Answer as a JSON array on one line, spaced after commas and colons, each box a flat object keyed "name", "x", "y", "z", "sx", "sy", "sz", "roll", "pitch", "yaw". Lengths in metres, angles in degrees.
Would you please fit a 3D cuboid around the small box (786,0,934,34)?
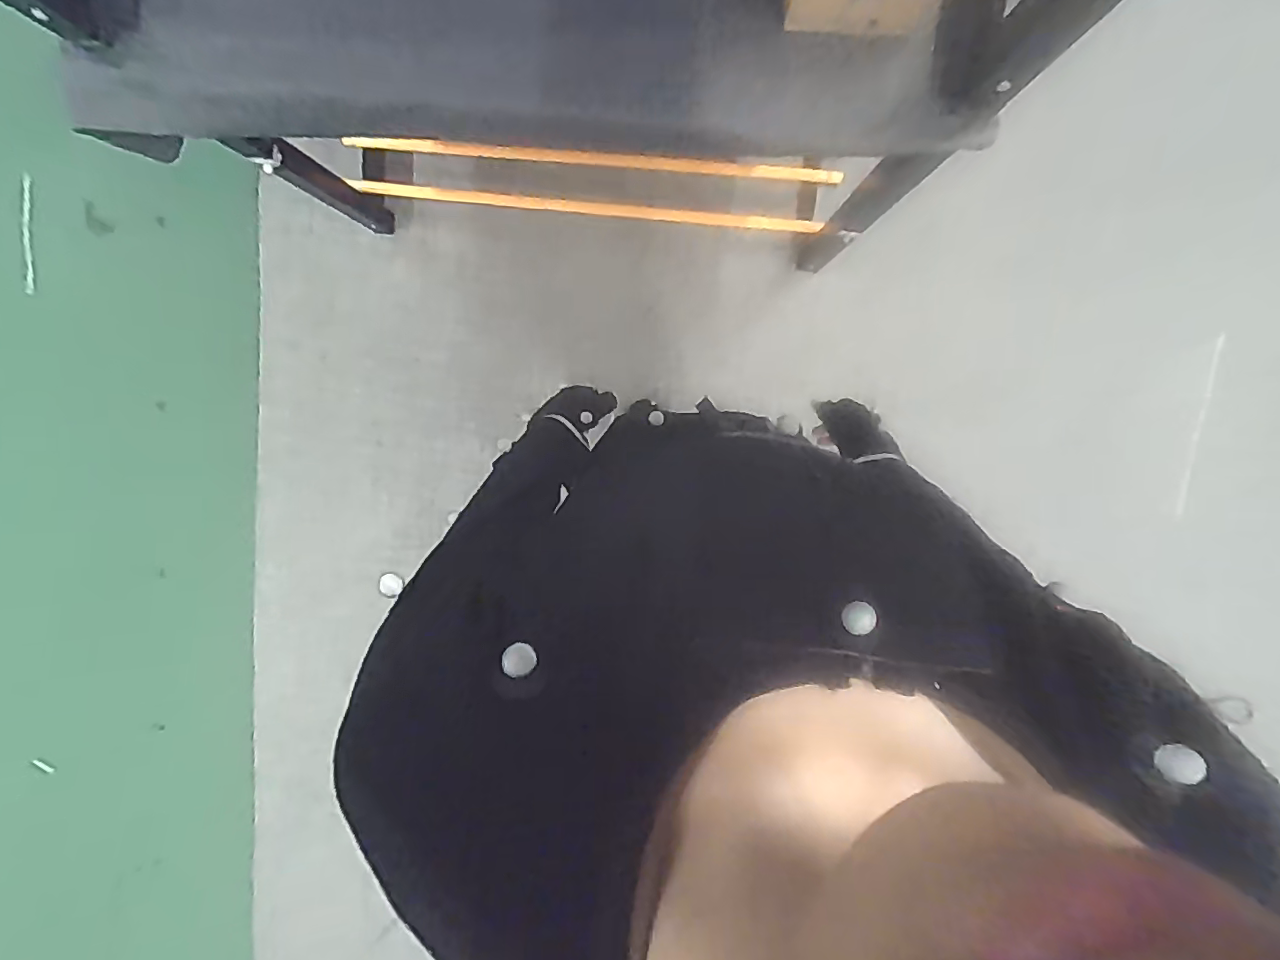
[{"name": "small box", "x": 0.259, "y": -0.622, "z": 0.575, "sx": 0.168, "sy": 0.176, "sz": 0.179, "roll": 4, "pitch": 97, "yaw": 2}]
